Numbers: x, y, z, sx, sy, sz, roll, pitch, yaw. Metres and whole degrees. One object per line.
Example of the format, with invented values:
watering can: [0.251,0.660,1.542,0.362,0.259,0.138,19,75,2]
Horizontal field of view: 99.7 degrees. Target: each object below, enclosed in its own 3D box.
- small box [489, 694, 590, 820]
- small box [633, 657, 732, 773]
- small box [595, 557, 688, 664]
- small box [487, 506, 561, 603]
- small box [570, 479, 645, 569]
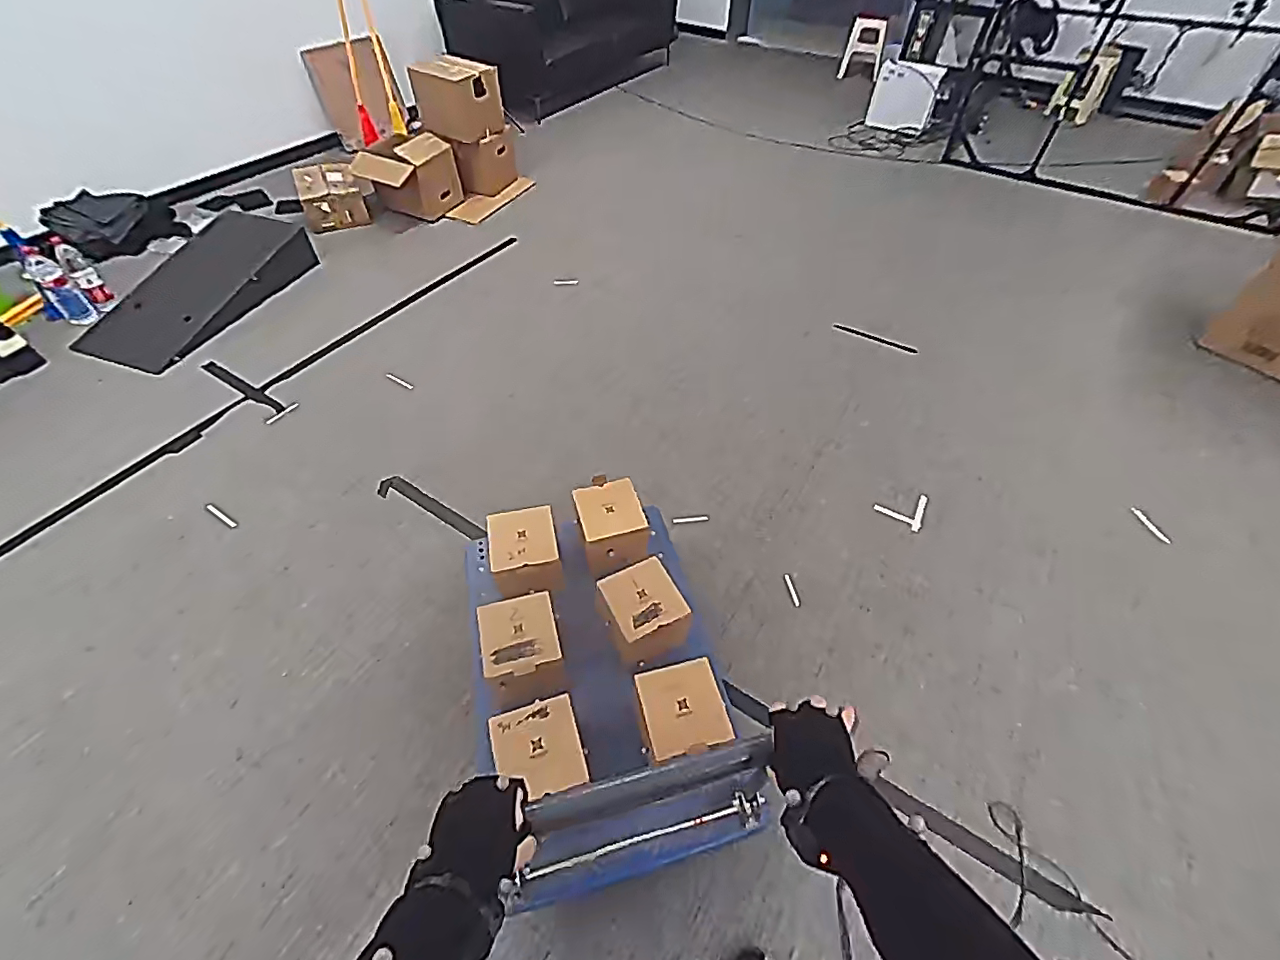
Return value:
small box: [-0.201,0.571,1.105,0.168,0.176,0.179,-13,52,-15]
small box: [0.084,0.514,1.170,0.168,0.176,0.179,-10,50,-12]
small box: [0.001,0.326,1.325,0.168,0.176,0.179,-21,53,-19]
small box: [-0.303,0.197,1.419,0.168,0.176,0.179,-10,52,-10]
small box: [-0.090,0.128,1.490,0.168,0.176,0.179,-13,51,-13]
